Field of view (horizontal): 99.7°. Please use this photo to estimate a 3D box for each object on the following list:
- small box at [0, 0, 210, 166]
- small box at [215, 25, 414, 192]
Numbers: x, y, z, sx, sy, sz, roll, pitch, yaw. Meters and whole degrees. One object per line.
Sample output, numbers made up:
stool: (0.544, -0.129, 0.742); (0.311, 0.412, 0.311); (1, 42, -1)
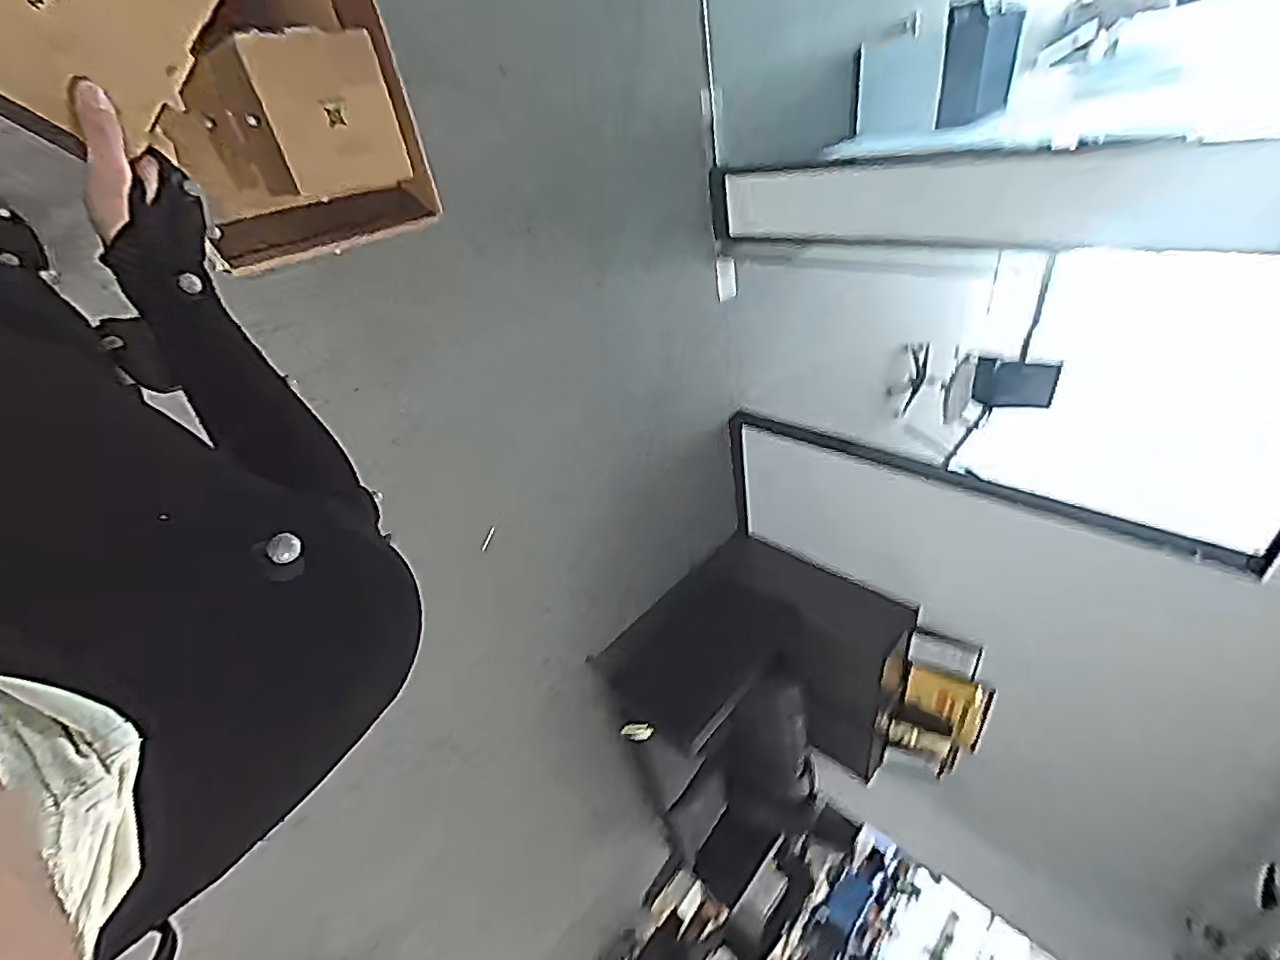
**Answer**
small box: (-0.474, -0.371, 0.407); (0.179, 0.176, 0.168); (23, 91, -53)
small box: (-0.459, -0.518, 0.768); (0.168, 0.176, 0.179); (-33, 132, -32)
